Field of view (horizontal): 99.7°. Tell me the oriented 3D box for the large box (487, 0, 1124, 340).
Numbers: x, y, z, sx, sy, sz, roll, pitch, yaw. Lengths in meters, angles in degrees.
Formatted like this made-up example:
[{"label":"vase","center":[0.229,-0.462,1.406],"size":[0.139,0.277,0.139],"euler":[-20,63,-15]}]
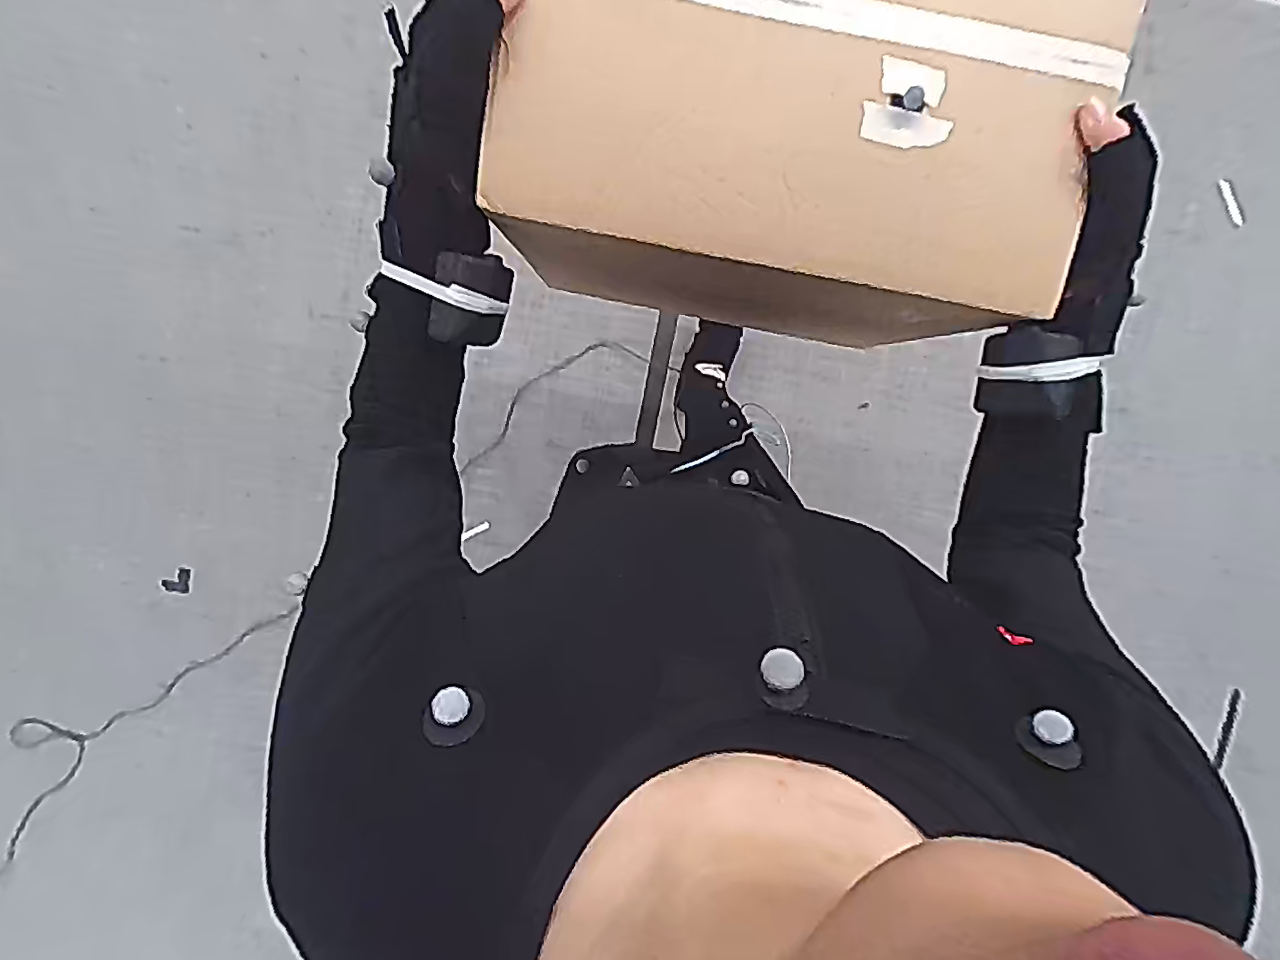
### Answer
[{"label":"large box","center":[0.107,-0.326,0.500],"size":[0.408,0.320,0.320],"euler":[10,101,-4]}]
